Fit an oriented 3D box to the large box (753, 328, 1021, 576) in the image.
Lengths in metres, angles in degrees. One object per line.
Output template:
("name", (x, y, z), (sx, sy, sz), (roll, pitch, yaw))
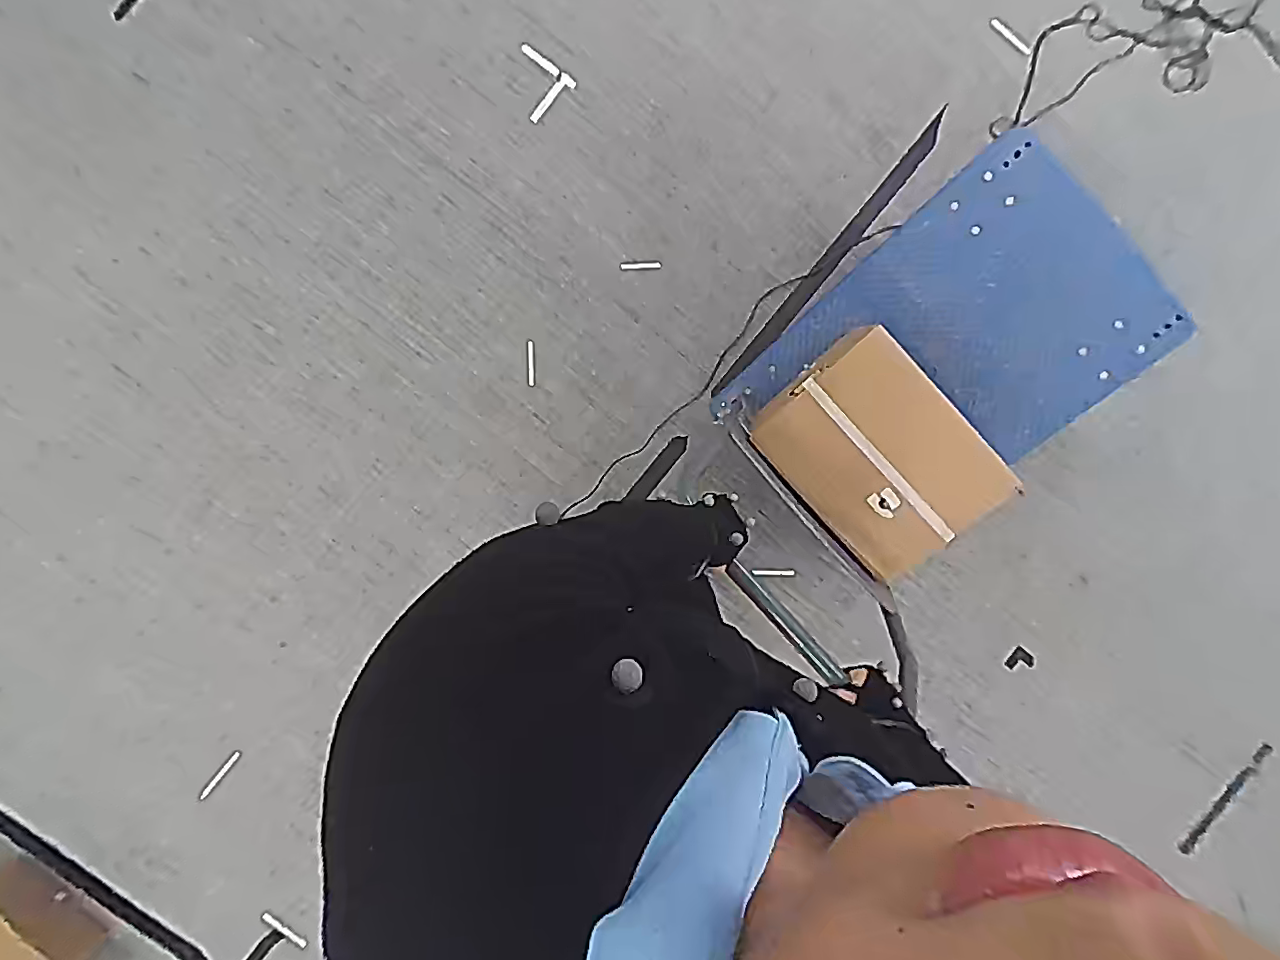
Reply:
("large box", (0.493, -0.078, 1.179), (0.320, 0.320, 0.408), (-42, 92, 19))
